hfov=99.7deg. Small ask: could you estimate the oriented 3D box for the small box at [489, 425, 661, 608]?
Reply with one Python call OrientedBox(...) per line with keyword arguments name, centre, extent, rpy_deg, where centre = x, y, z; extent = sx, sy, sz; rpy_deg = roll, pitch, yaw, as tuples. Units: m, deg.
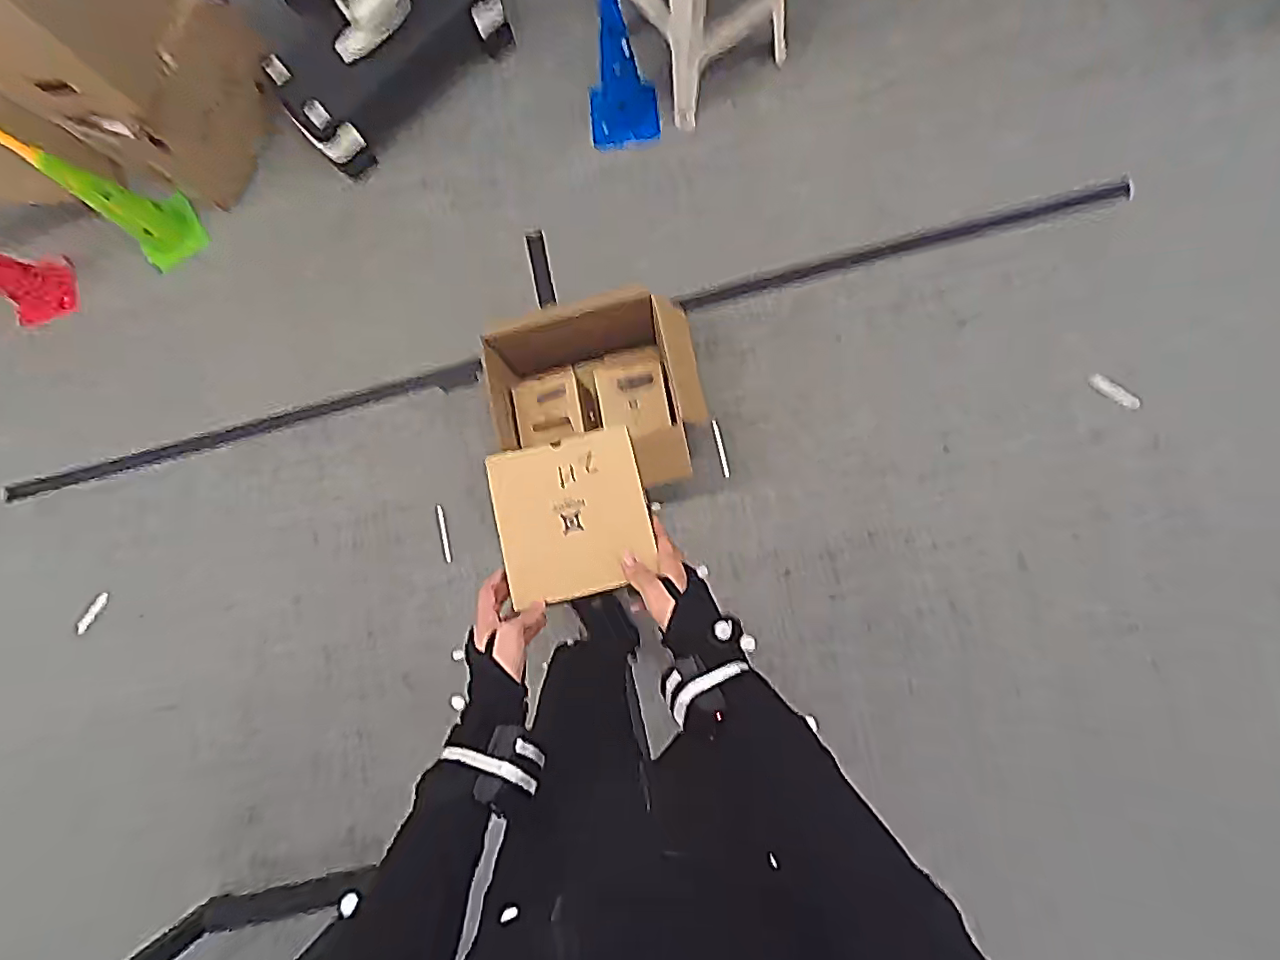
OrientedBox(name="small box", centre=(-0.070, 0.053, 0.667), extent=(0.168, 0.176, 0.179), rpy_deg=(-12, 77, 0))
